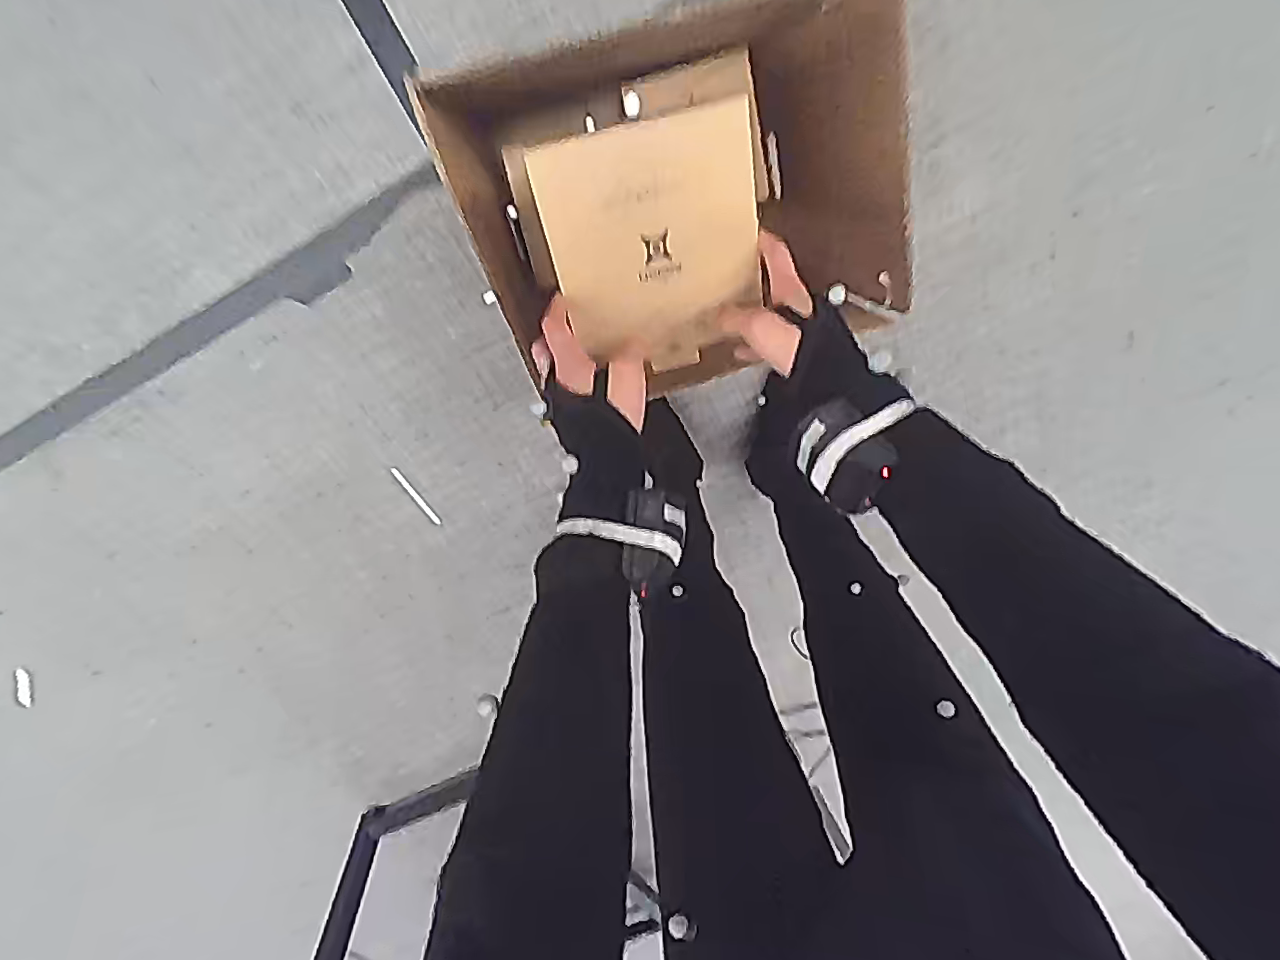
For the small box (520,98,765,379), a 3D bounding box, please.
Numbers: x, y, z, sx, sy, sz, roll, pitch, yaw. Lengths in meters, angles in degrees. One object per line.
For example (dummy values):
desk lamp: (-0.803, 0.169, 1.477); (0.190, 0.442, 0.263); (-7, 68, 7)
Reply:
small box: (0.001, -0.218, 0.480); (0.168, 0.176, 0.179); (-15, 124, -1)
